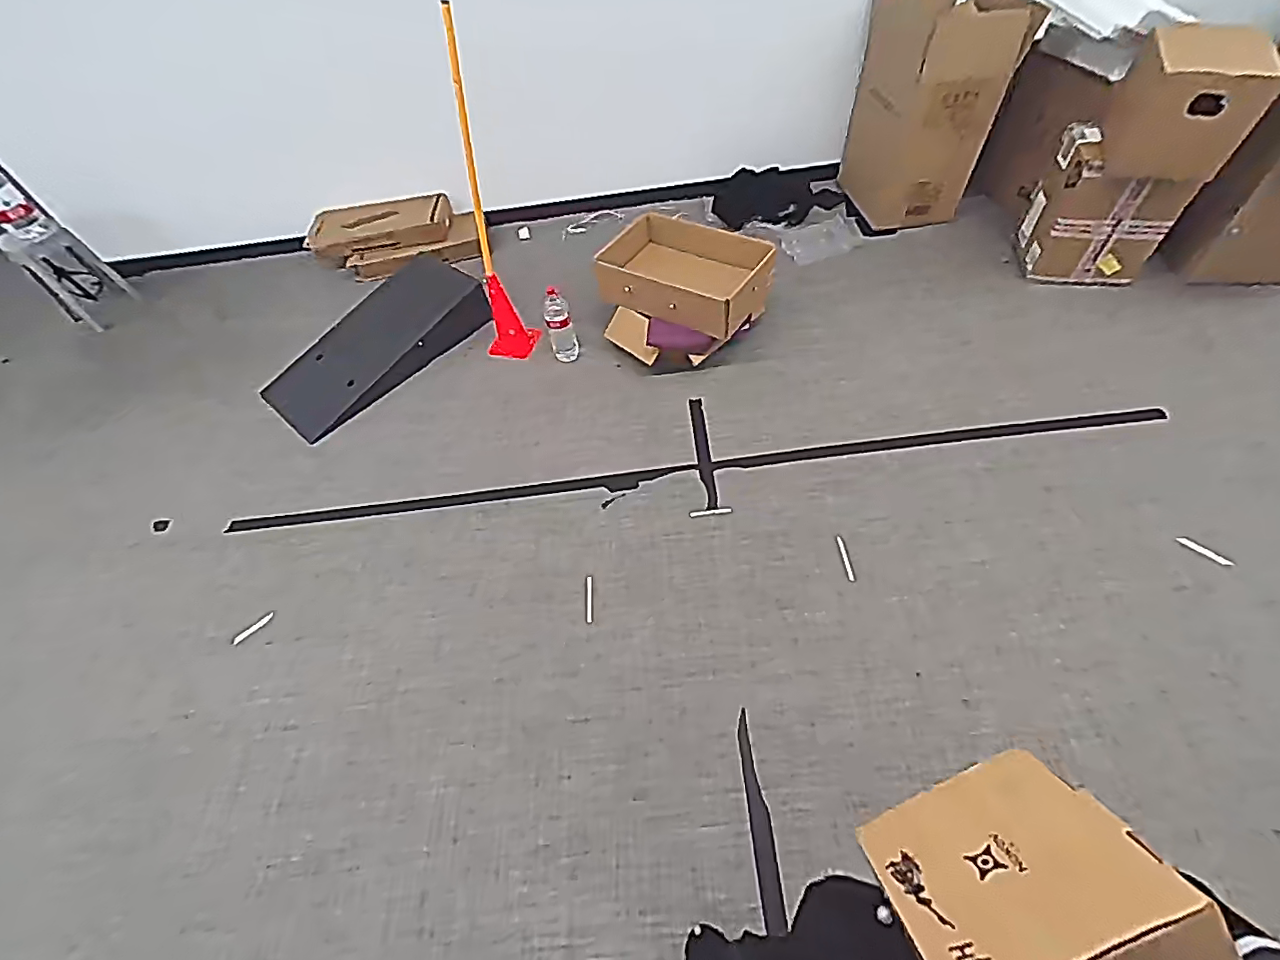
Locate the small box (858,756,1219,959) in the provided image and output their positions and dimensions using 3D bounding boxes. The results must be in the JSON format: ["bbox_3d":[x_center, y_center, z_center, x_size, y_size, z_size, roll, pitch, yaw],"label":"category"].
[{"bbox_3d":[0.317,0.374,0.434,0.179,0.168,0.176,-27,94,1],"label":"small box"}]
